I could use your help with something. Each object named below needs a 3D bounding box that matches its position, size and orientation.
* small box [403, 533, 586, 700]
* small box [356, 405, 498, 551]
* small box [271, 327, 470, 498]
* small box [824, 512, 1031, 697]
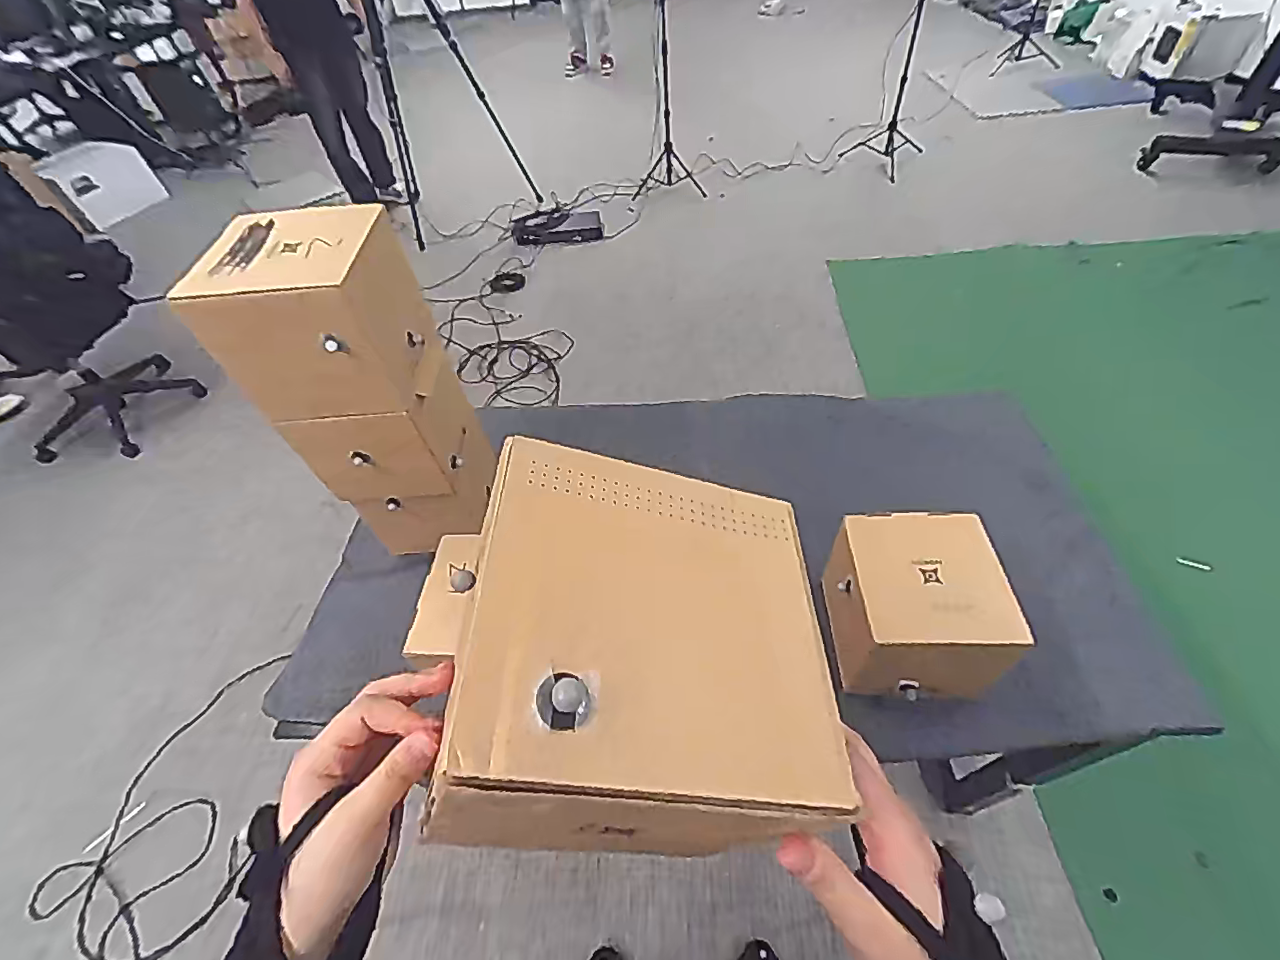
[{"bbox_3d":[-0.176,0.186,0.727,0.179,0.176,0.168,0,51,7],"label":"small box"},{"bbox_3d":[-0.344,-0.001,0.899,0.168,0.176,0.179,-5,51,2],"label":"small box"},{"bbox_3d":[-0.356,-0.091,0.760,0.179,0.176,0.168,-5,52,3],"label":"small box"},{"bbox_3d":[0.342,0.159,0.690,0.168,0.176,0.179,-2,50,6],"label":"small box"}]
